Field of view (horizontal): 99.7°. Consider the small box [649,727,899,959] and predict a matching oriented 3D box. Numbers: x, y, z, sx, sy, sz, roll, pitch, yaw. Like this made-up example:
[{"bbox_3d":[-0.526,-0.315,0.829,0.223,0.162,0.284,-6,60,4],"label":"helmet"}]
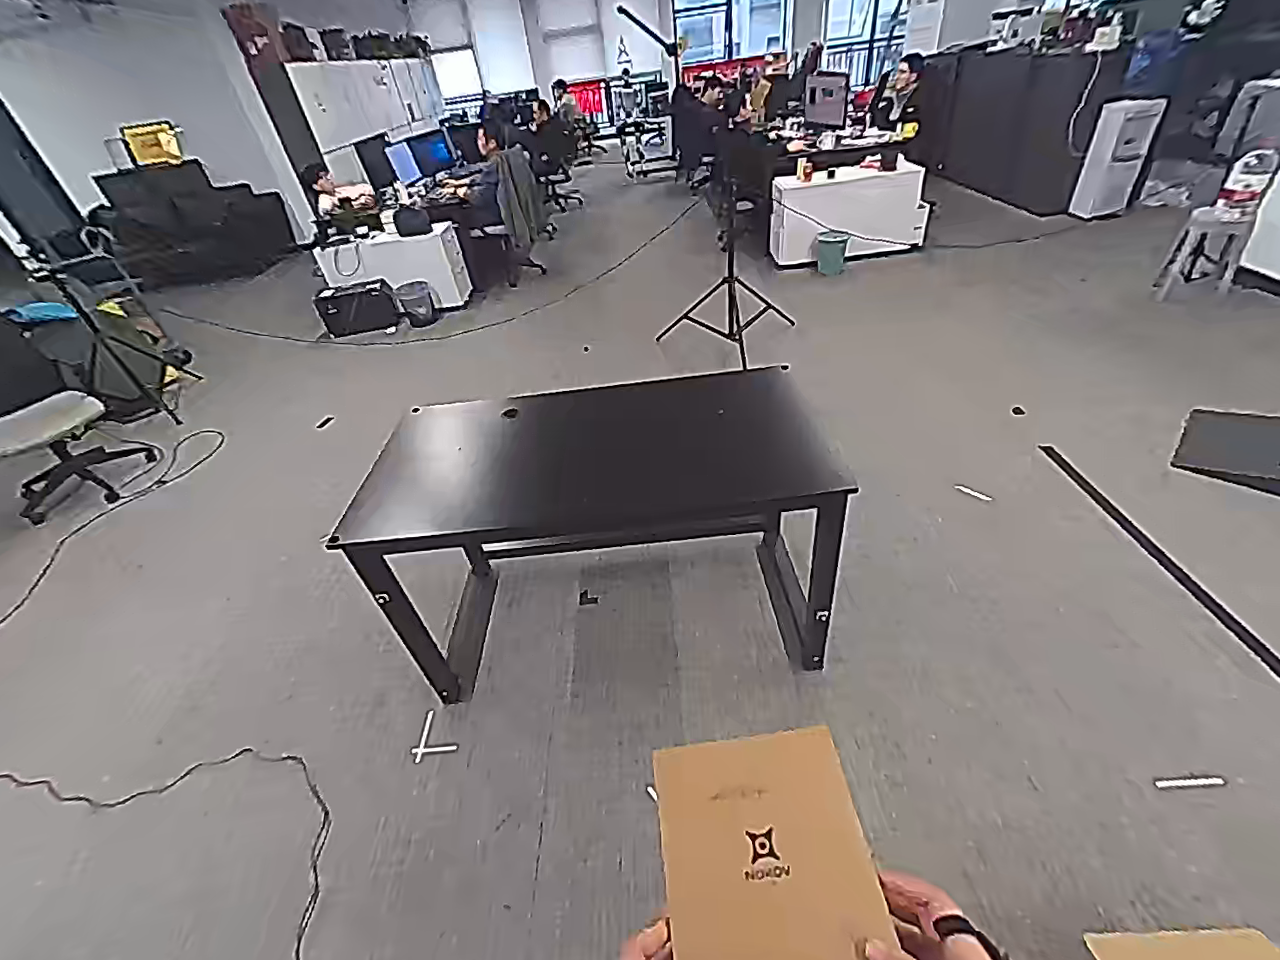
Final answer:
[{"bbox_3d":[0.106,0.353,0.493,0.168,0.176,0.179,-9,46,0],"label":"small box"}]
